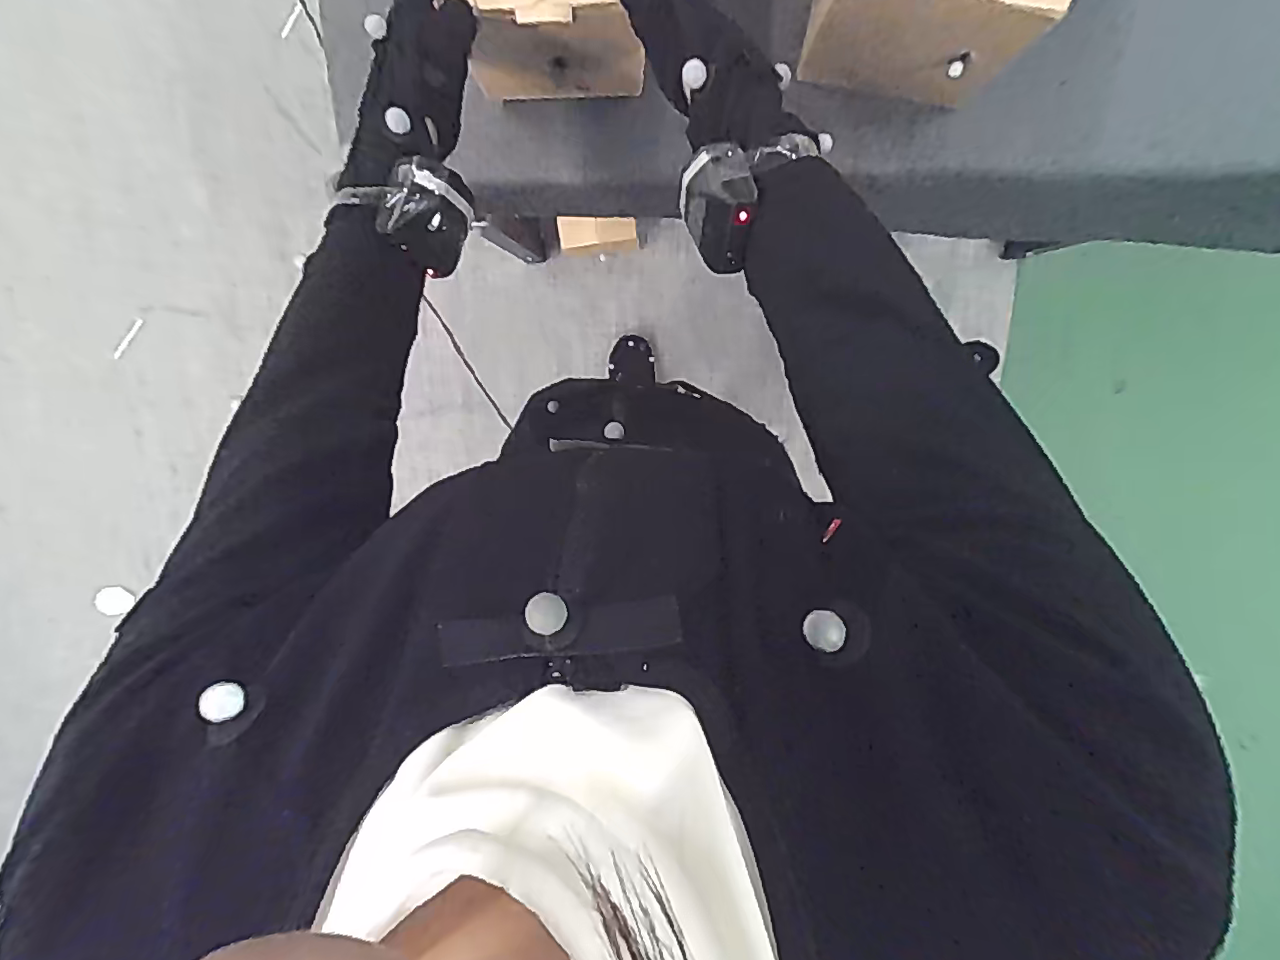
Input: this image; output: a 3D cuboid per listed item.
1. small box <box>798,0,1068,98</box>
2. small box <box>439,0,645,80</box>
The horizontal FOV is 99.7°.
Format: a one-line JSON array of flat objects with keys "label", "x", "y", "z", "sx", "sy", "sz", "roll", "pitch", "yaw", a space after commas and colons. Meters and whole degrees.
[{"label": "small box", "x": 0.259, "y": -0.471, "z": 0.474, "sx": 0.179, "sy": 0.176, "sz": 0.168, "roll": 10, "pitch": 103, "yaw": 0}, {"label": "small box", "x": -0.079, "y": -0.476, "z": 0.470, "sx": 0.168, "sy": 0.176, "sz": 0.179, "roll": -3, "pitch": 107, "yaw": -1}]
